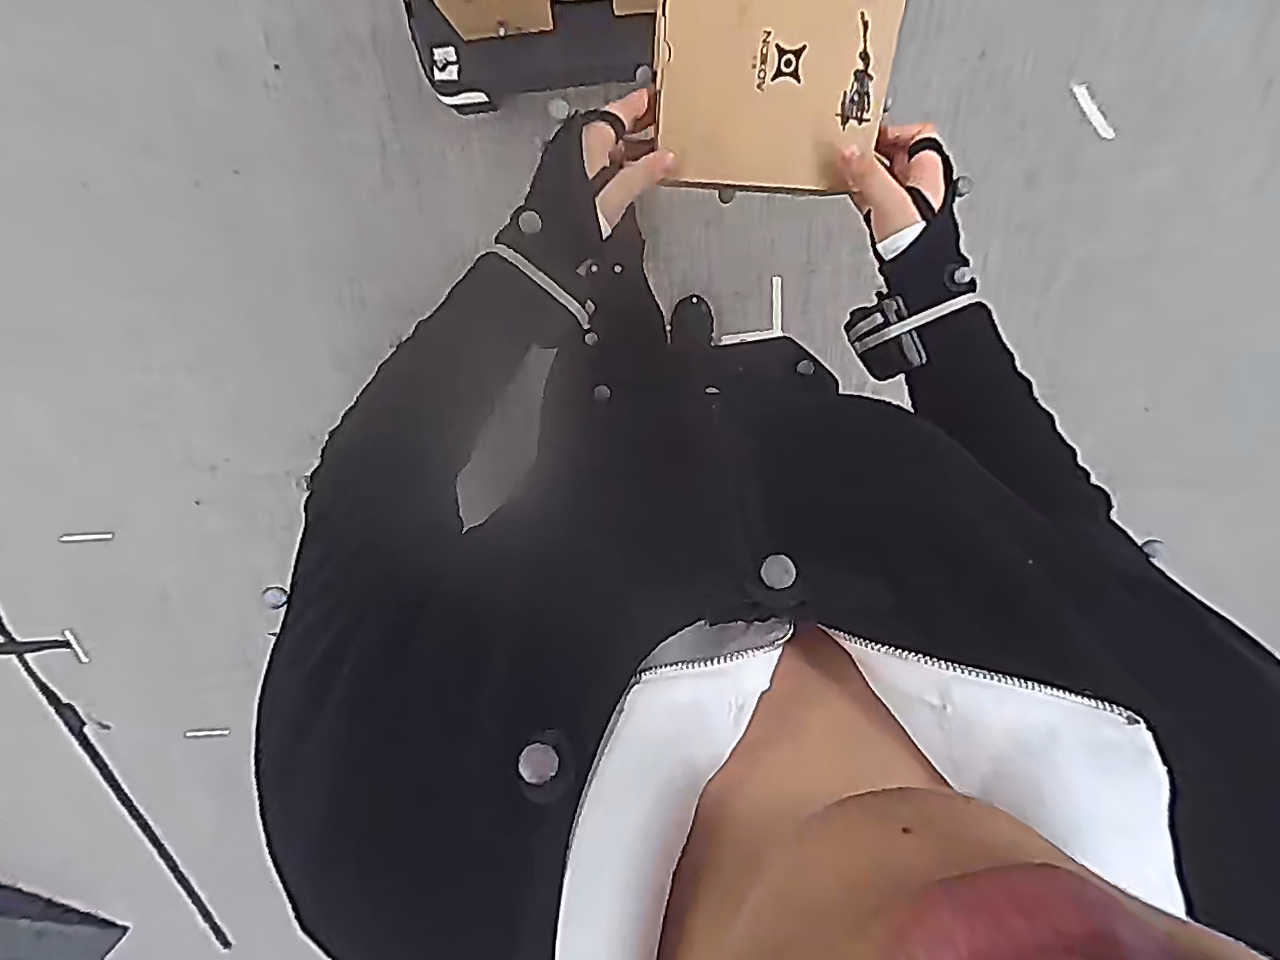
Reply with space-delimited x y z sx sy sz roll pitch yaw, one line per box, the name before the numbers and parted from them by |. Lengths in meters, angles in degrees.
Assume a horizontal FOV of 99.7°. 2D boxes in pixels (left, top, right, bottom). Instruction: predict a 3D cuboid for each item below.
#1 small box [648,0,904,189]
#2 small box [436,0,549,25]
small box | 0.099 -0.352 0.467 0.179 0.176 0.168 3 116 -2
small box | -0.245 -0.847 0.864 0.168 0.176 0.179 -6 114 1
